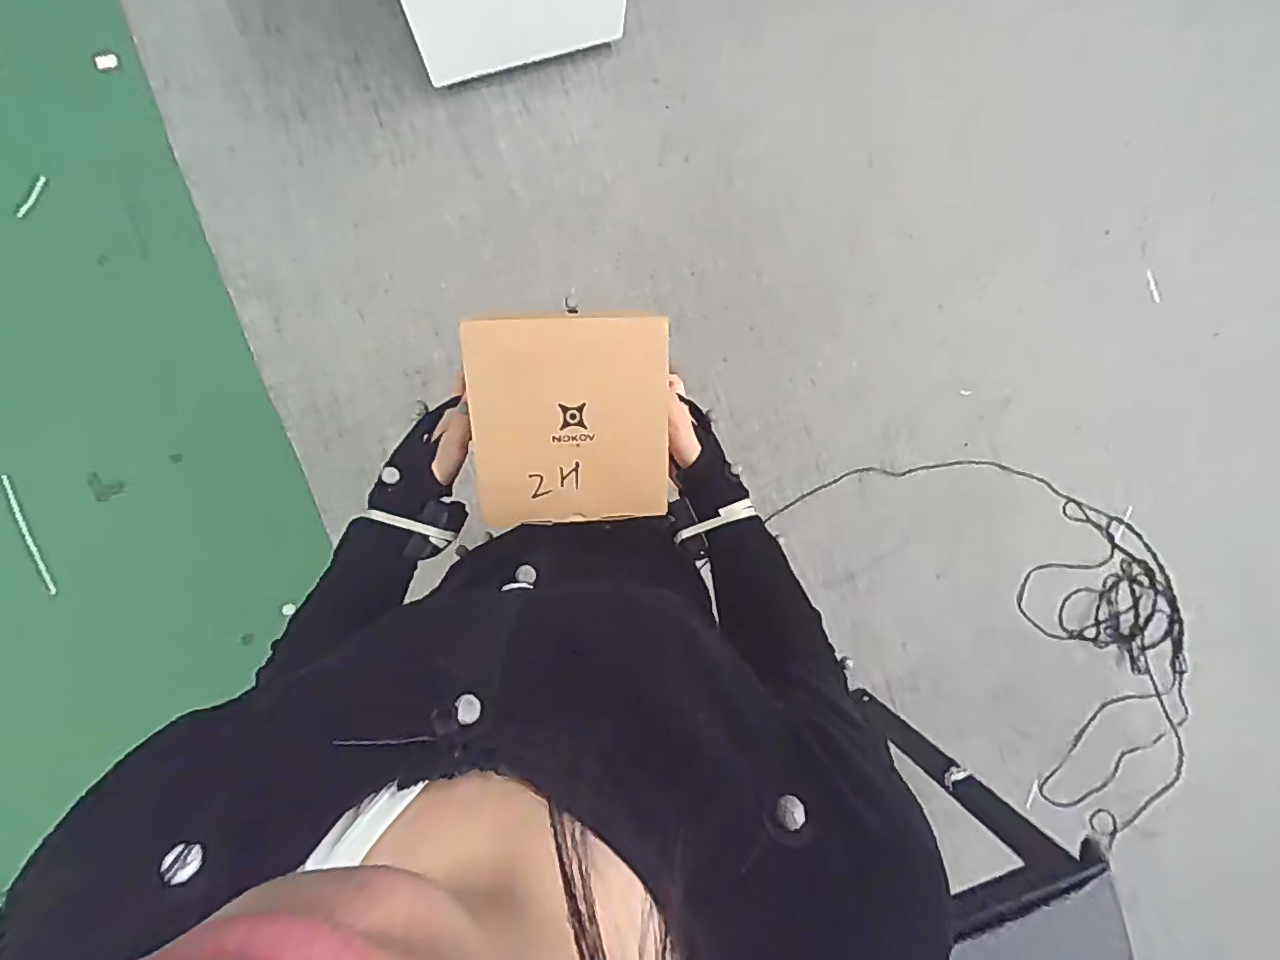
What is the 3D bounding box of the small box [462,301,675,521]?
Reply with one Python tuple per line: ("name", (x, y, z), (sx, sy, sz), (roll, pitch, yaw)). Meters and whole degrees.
("small box", (-0.065, -0.075, 0.511), (0.168, 0.176, 0.179), (-3, 108, -7))
